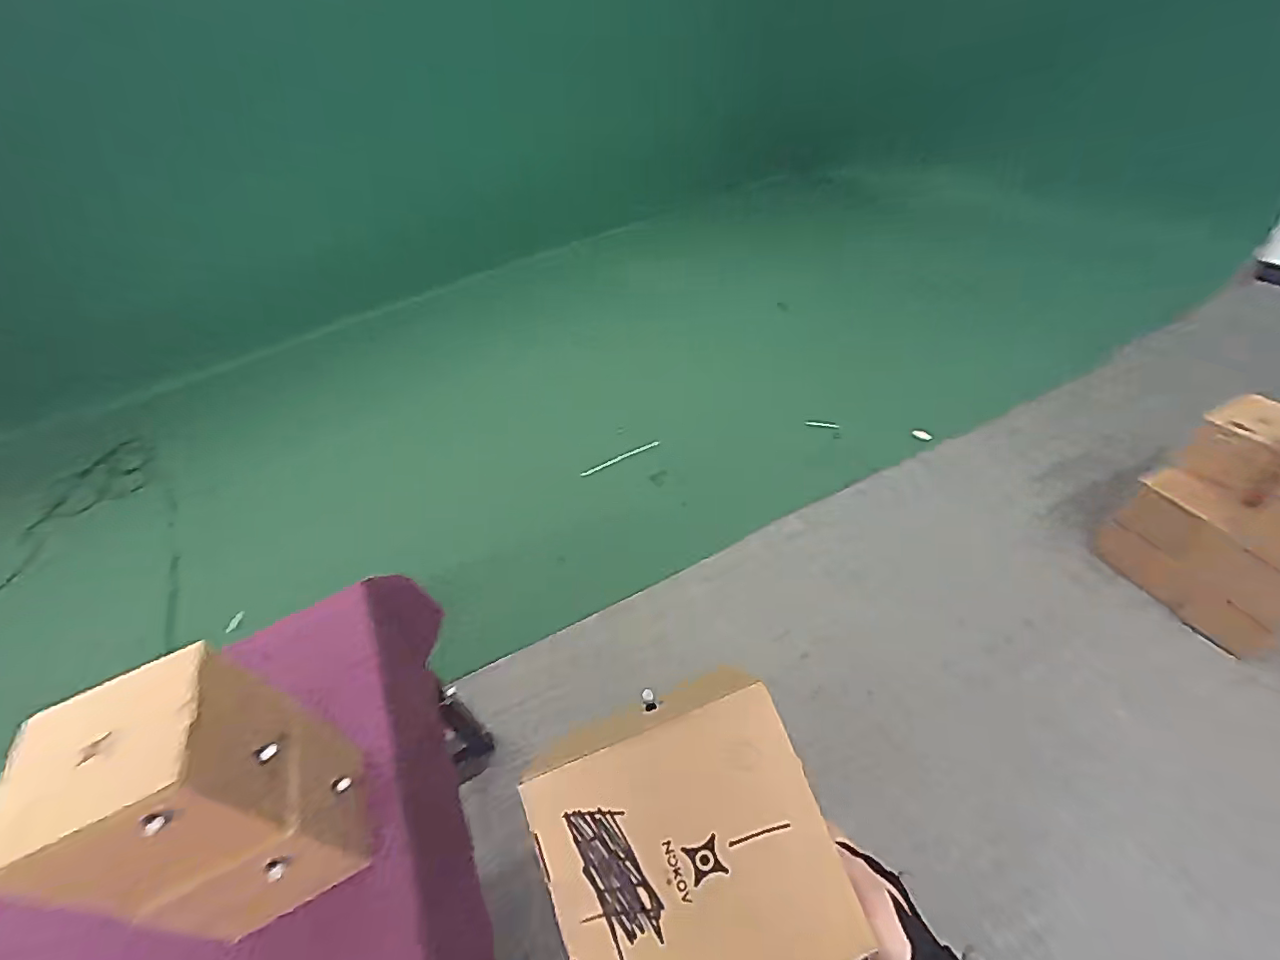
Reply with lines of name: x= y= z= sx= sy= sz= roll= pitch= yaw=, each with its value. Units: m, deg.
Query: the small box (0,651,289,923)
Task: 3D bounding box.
small box: x=-0.511 y=0.324 z=0.573 sx=0.179 sy=0.176 sz=0.168 roll=-25 pitch=45 yaw=-13

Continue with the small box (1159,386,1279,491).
small box: x=1.475 y=-0.103 z=1.354 sx=0.179 sy=0.176 sz=0.168 roll=-22 pitch=44 yaw=-12

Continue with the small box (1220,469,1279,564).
small box: x=1.450 y=0.078 z=1.172 sx=0.168 sy=0.176 sz=0.179 roll=-23 pitch=44 yaw=-12

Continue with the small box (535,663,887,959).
small box: x=0.042 y=0.251 z=0.411 sx=0.179 sy=0.176 sz=0.168 roll=-21 pitch=76 yaw=-5
